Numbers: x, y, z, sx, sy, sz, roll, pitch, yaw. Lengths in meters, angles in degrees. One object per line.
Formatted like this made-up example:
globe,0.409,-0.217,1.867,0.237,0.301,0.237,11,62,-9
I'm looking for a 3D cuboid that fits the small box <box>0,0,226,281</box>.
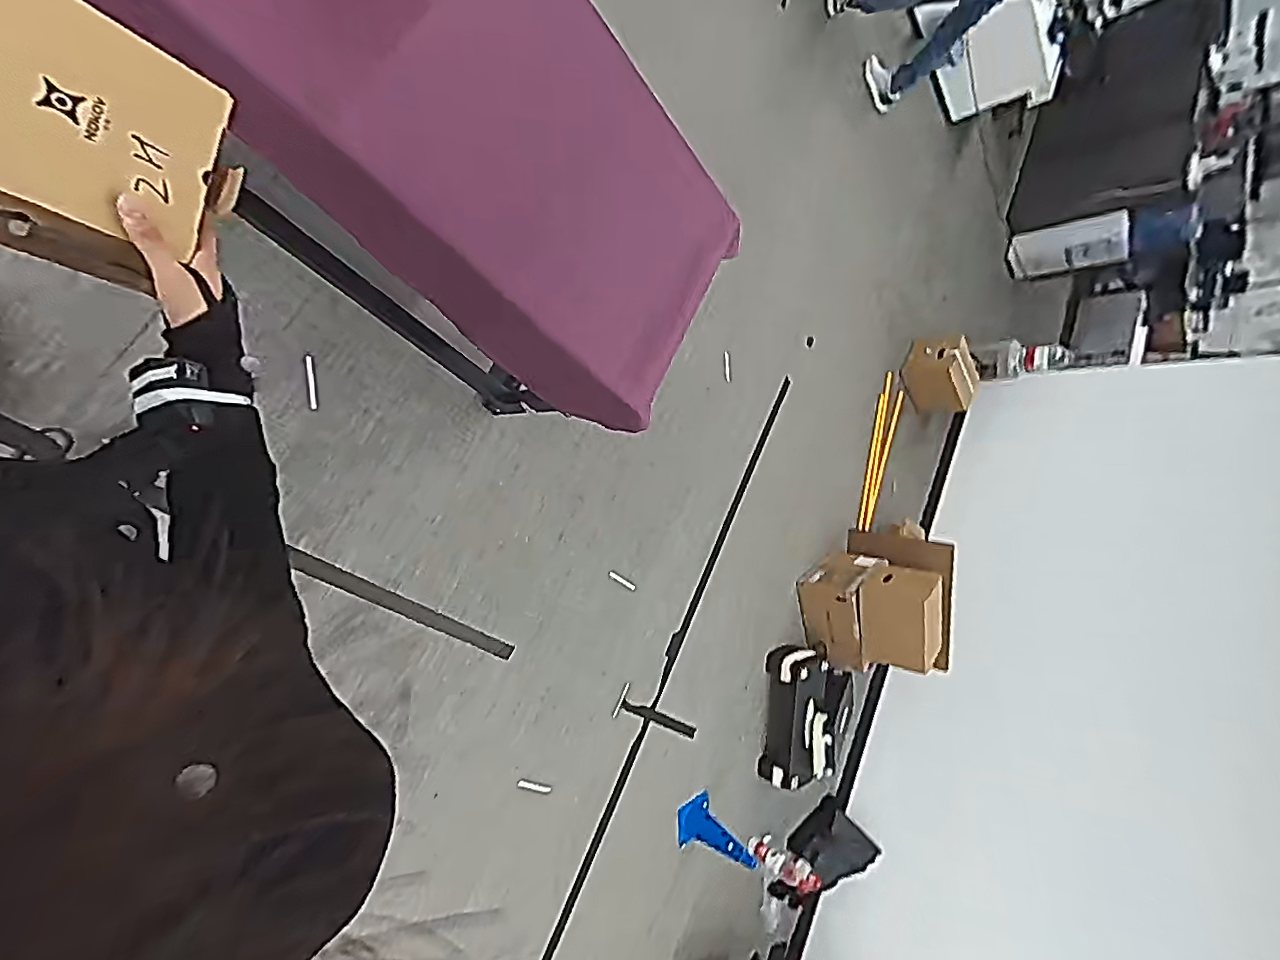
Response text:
small box,-0.502,-0.289,0.461,0.179,0.176,0.168,17,80,-54
